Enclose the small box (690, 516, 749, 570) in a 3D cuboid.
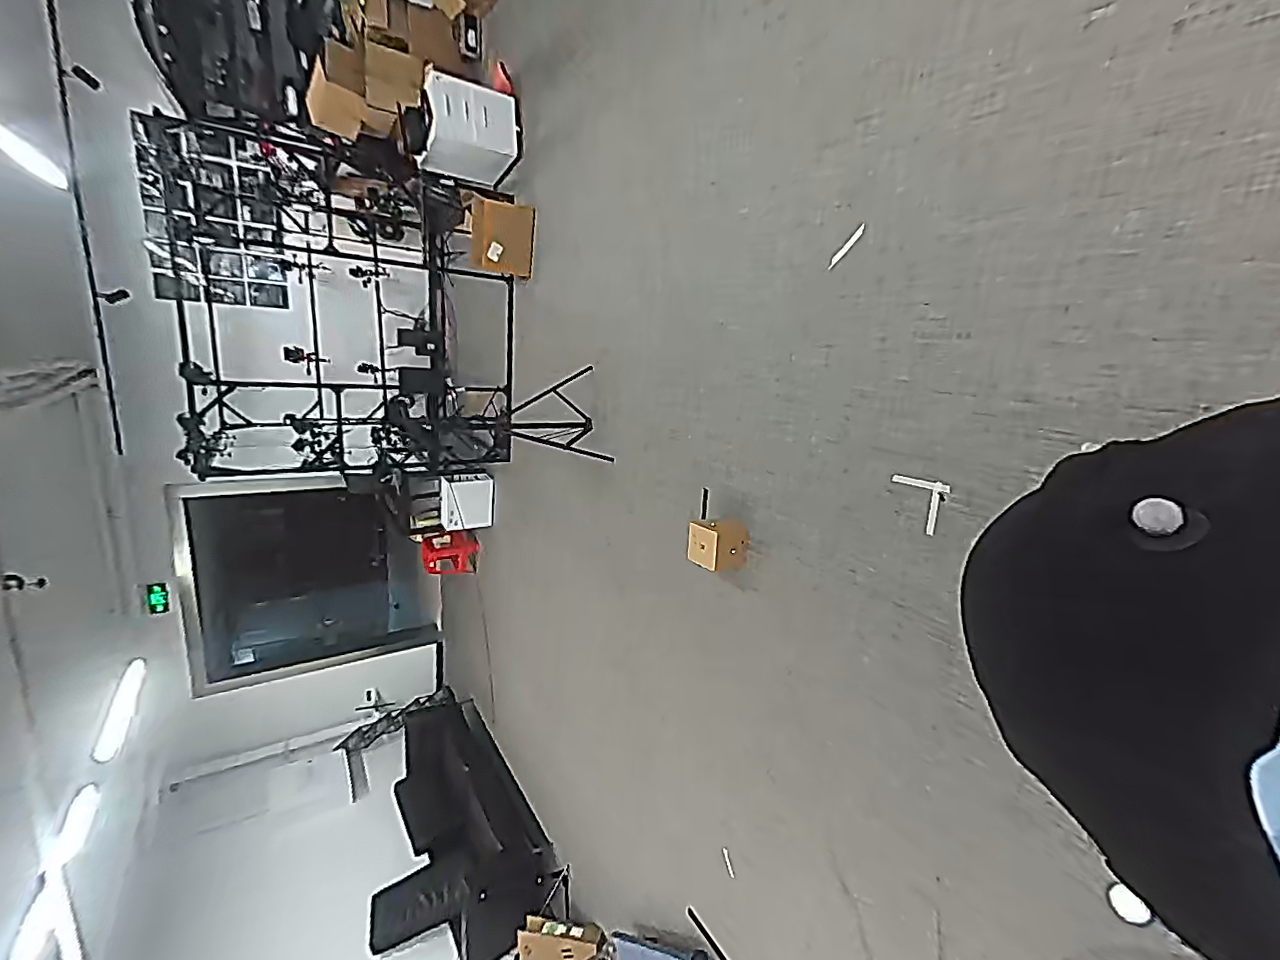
[{"bbox_3d":[0.328,0.253,2.230,0.179,0.176,0.168,21,111,55],"label":"small box"}]
